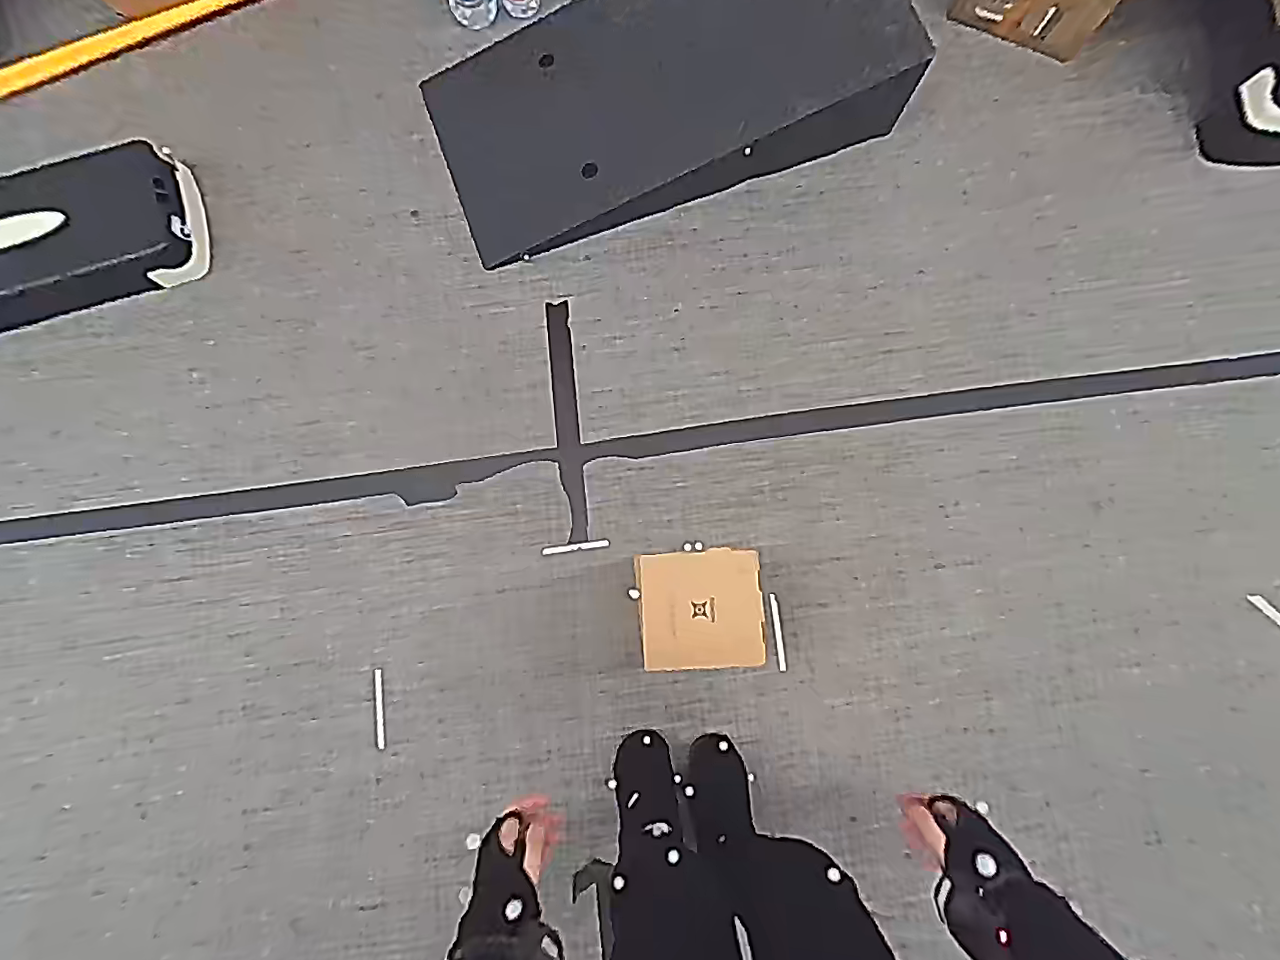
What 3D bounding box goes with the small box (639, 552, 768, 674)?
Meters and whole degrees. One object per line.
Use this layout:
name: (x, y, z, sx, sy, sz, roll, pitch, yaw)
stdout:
small box: (0.088, 0.196, 0.837, 0.179, 0.176, 0.168, -2, 82, 0)
